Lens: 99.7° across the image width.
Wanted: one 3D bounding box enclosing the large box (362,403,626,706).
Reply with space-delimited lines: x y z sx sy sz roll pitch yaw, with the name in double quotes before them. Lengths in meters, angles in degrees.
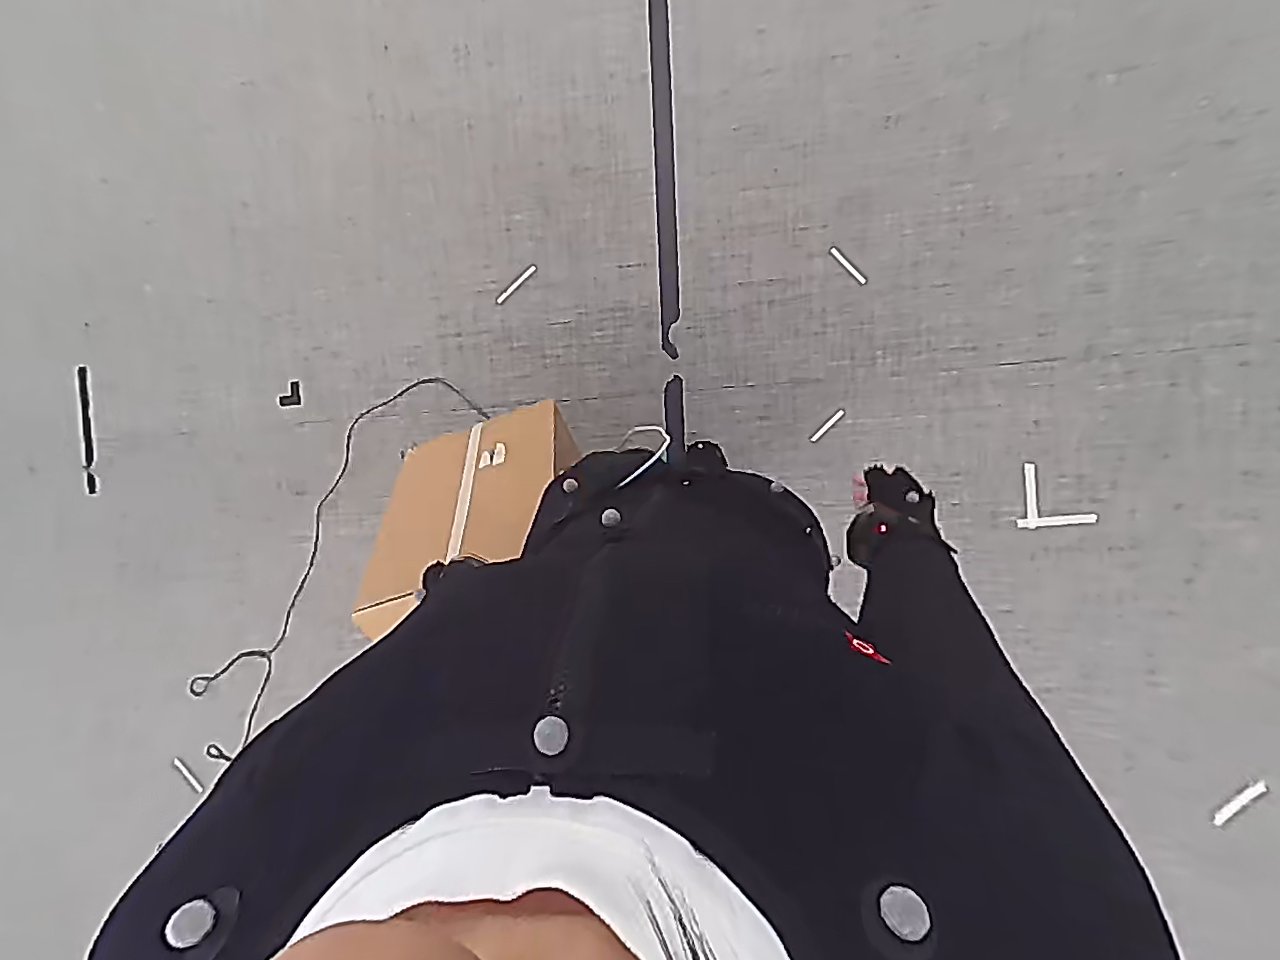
"large box" -0.235 0.126 0.996 0.320 0.408 0.320 -18 129 5
